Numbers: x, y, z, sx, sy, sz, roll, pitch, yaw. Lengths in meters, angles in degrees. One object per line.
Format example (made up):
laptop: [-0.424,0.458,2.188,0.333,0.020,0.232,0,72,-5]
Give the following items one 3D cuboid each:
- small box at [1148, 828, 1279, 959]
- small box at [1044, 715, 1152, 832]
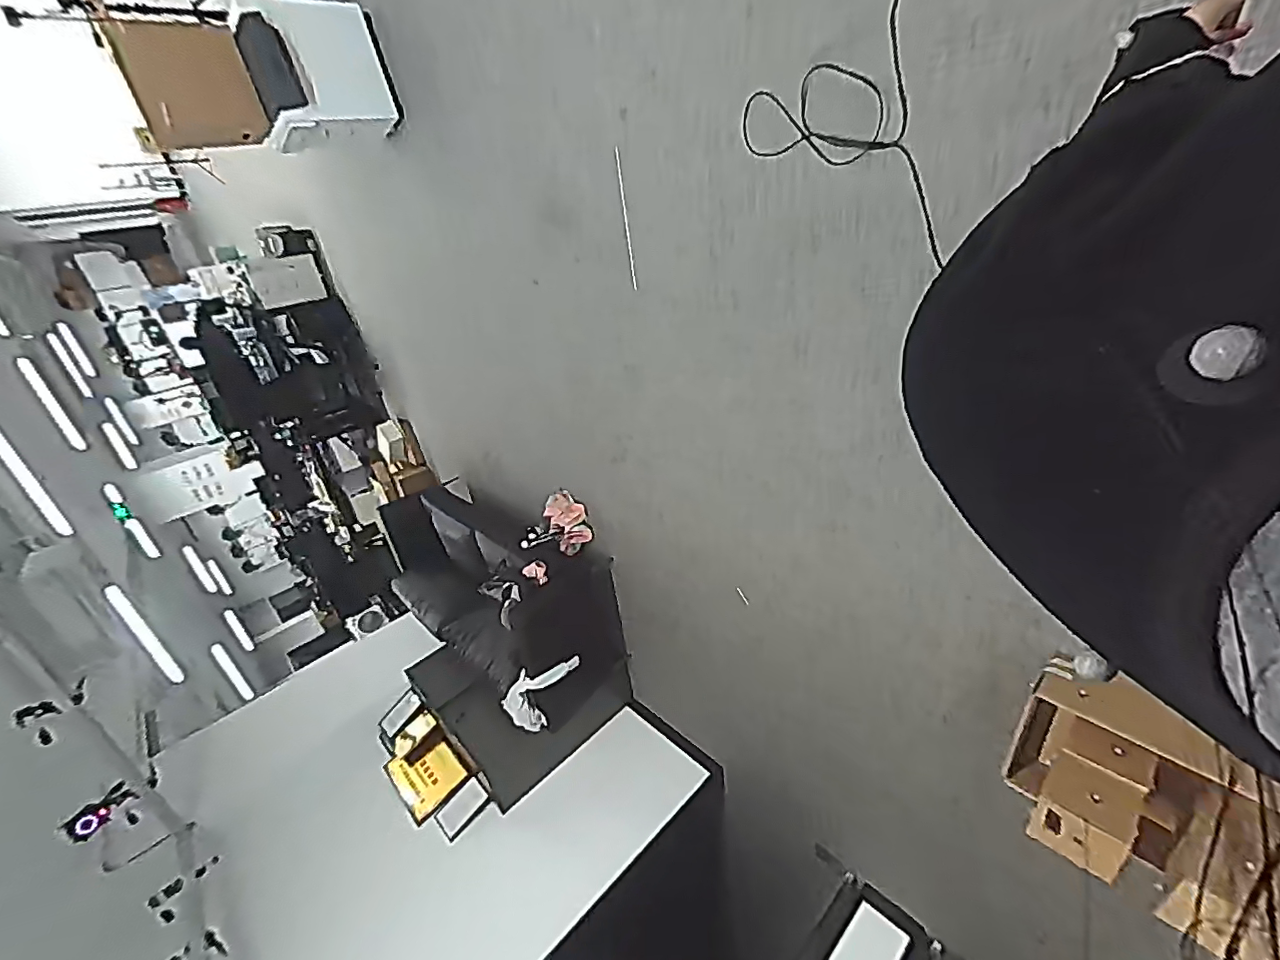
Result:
small box: [1.256,0.914,1.171,0.168,0.176,0.179,25,131,41]
small box: [1.206,0.761,1.423,0.179,0.176,0.168,20,127,42]
